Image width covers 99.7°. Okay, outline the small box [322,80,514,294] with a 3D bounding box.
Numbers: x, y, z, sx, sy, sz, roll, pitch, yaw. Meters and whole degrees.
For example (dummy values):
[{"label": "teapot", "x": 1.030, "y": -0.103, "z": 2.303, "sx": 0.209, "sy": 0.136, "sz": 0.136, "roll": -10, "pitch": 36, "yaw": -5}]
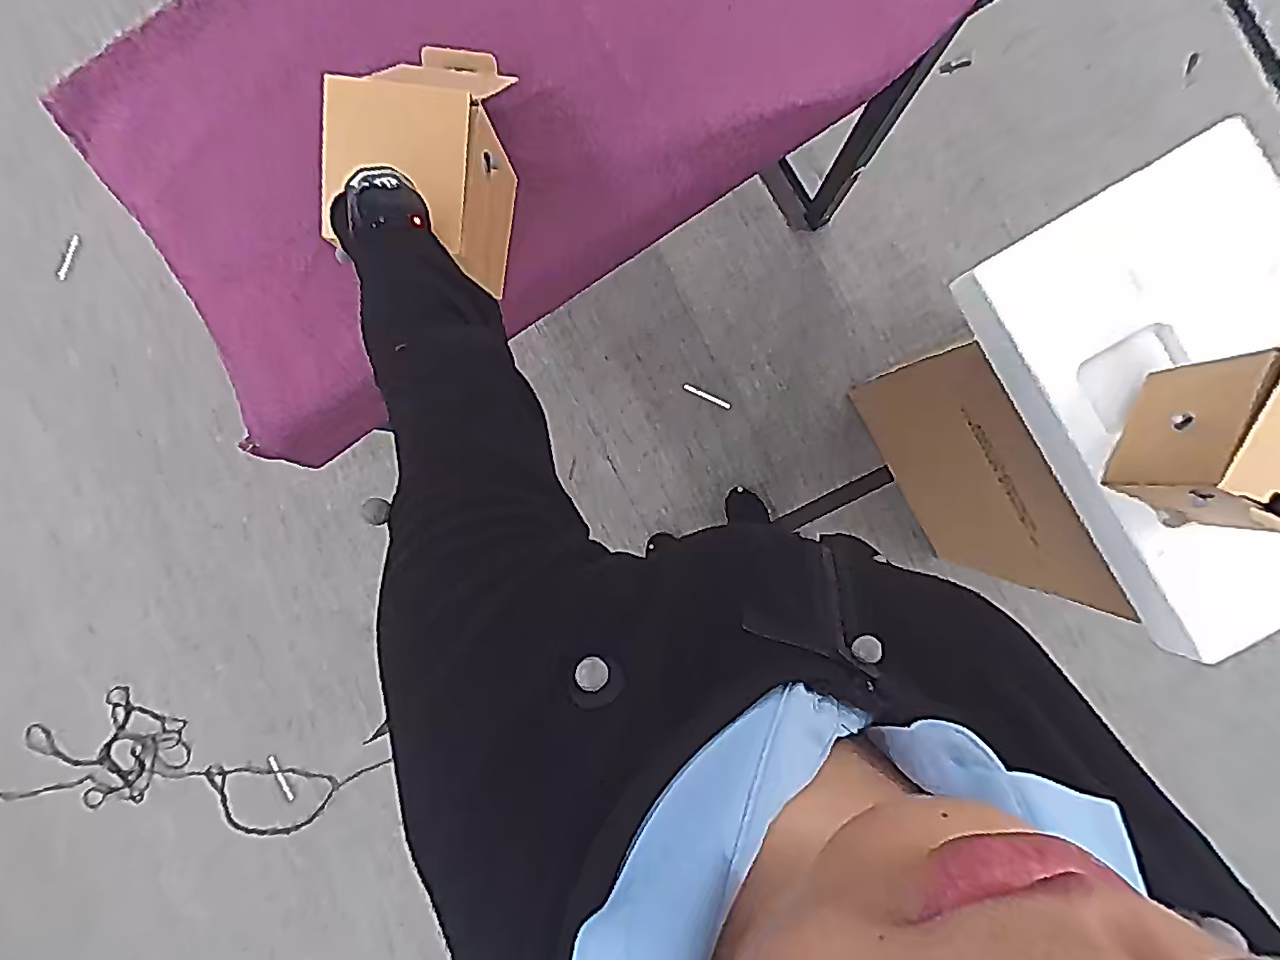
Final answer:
[{"label": "small box", "x": -0.269, "y": -0.360, "z": 0.695, "sx": 0.168, "sy": 0.176, "sz": 0.179, "roll": 8, "pitch": 92, "yaw": 2}]
